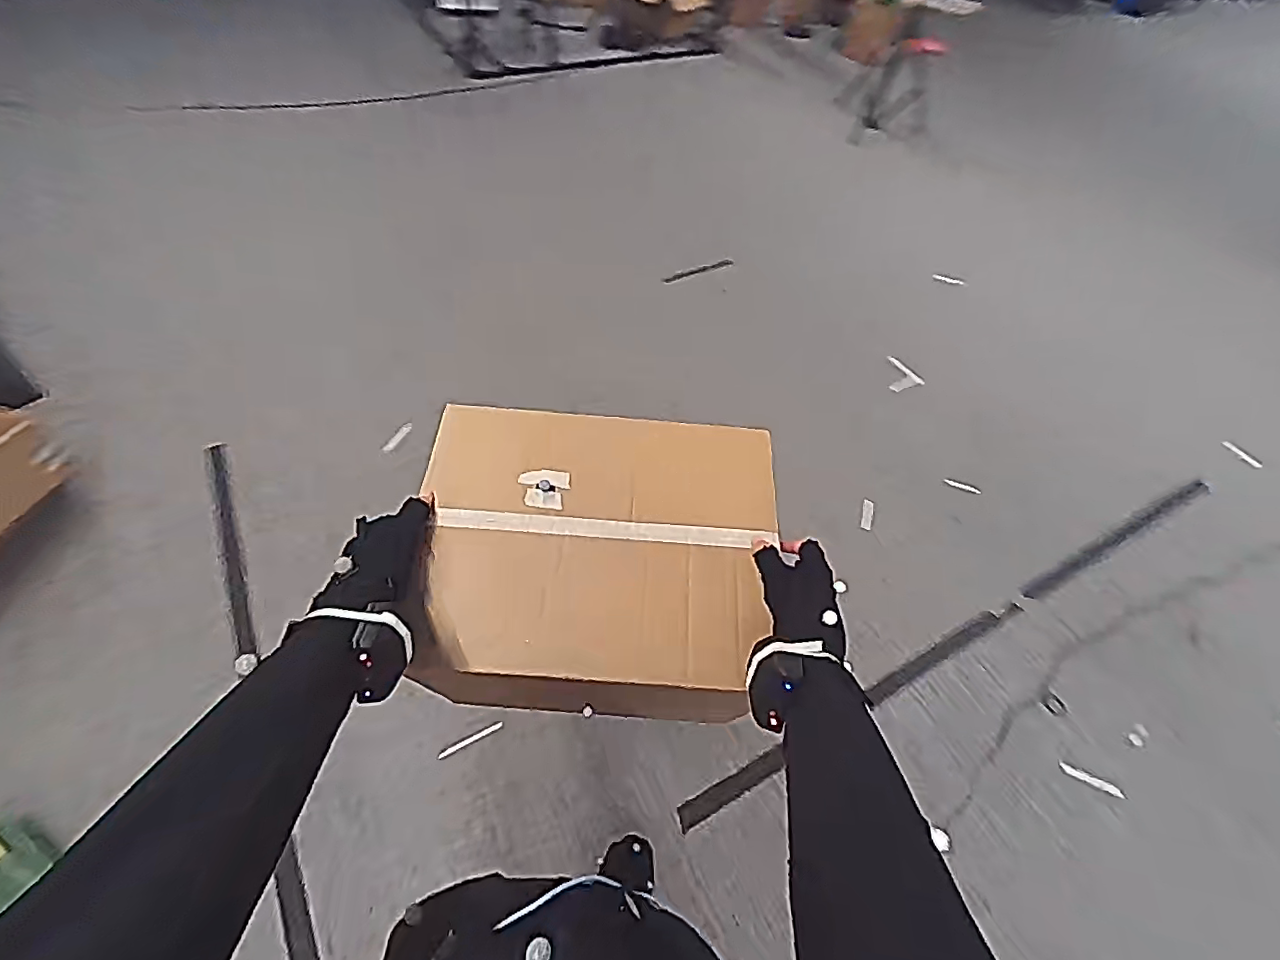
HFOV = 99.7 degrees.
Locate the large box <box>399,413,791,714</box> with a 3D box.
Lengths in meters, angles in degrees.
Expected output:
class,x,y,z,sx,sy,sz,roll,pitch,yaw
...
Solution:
class,x,y,z,sx,sy,sz,roll,pitch,yaw
large box,-0.041,0.133,0.742,0.408,0.320,0.320,5,60,0
